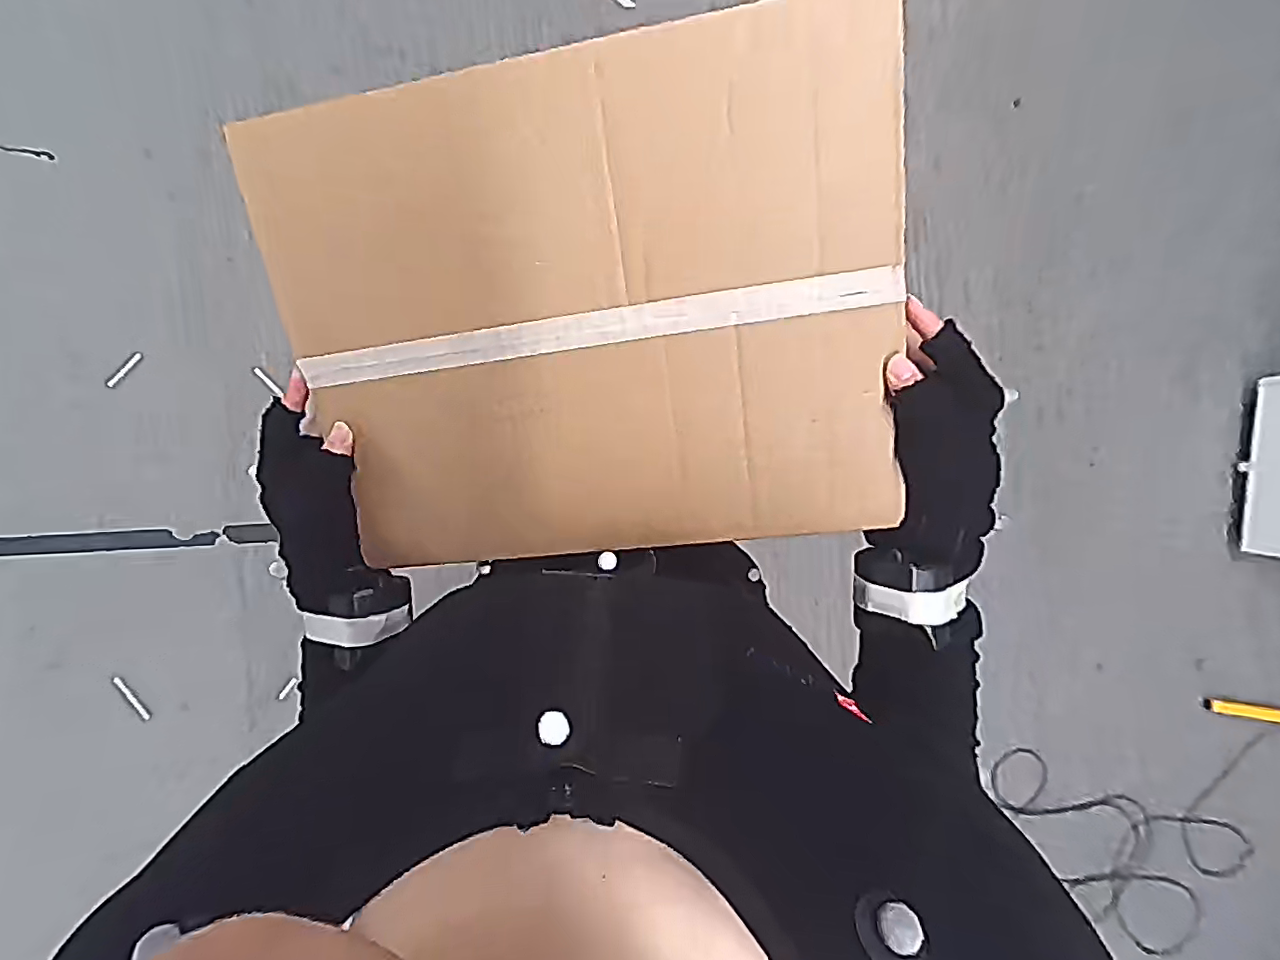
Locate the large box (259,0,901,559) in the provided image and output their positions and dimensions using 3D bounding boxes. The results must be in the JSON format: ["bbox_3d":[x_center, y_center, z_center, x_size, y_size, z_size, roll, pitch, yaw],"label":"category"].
[{"bbox_3d":[-0.020,-0.145,0.504,0.408,0.320,0.320,-6,108,9],"label":"large box"}]
